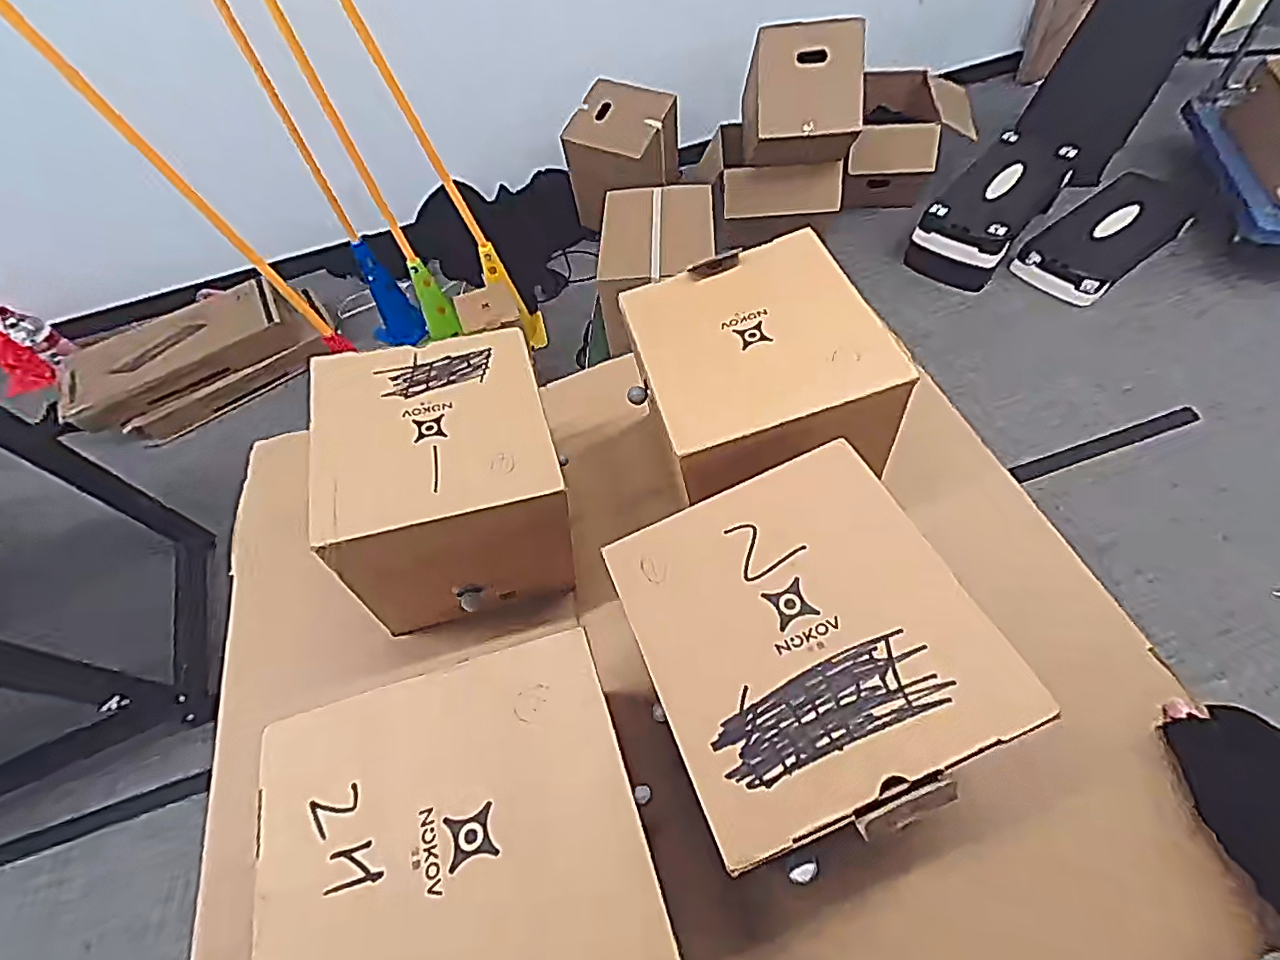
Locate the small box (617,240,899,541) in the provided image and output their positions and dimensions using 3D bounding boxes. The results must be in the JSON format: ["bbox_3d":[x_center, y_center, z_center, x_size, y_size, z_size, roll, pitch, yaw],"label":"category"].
[{"bbox_3d":[0.094,-0.065,0.471,0.168,0.176,0.179,-18,56,2],"label":"small box"}]
